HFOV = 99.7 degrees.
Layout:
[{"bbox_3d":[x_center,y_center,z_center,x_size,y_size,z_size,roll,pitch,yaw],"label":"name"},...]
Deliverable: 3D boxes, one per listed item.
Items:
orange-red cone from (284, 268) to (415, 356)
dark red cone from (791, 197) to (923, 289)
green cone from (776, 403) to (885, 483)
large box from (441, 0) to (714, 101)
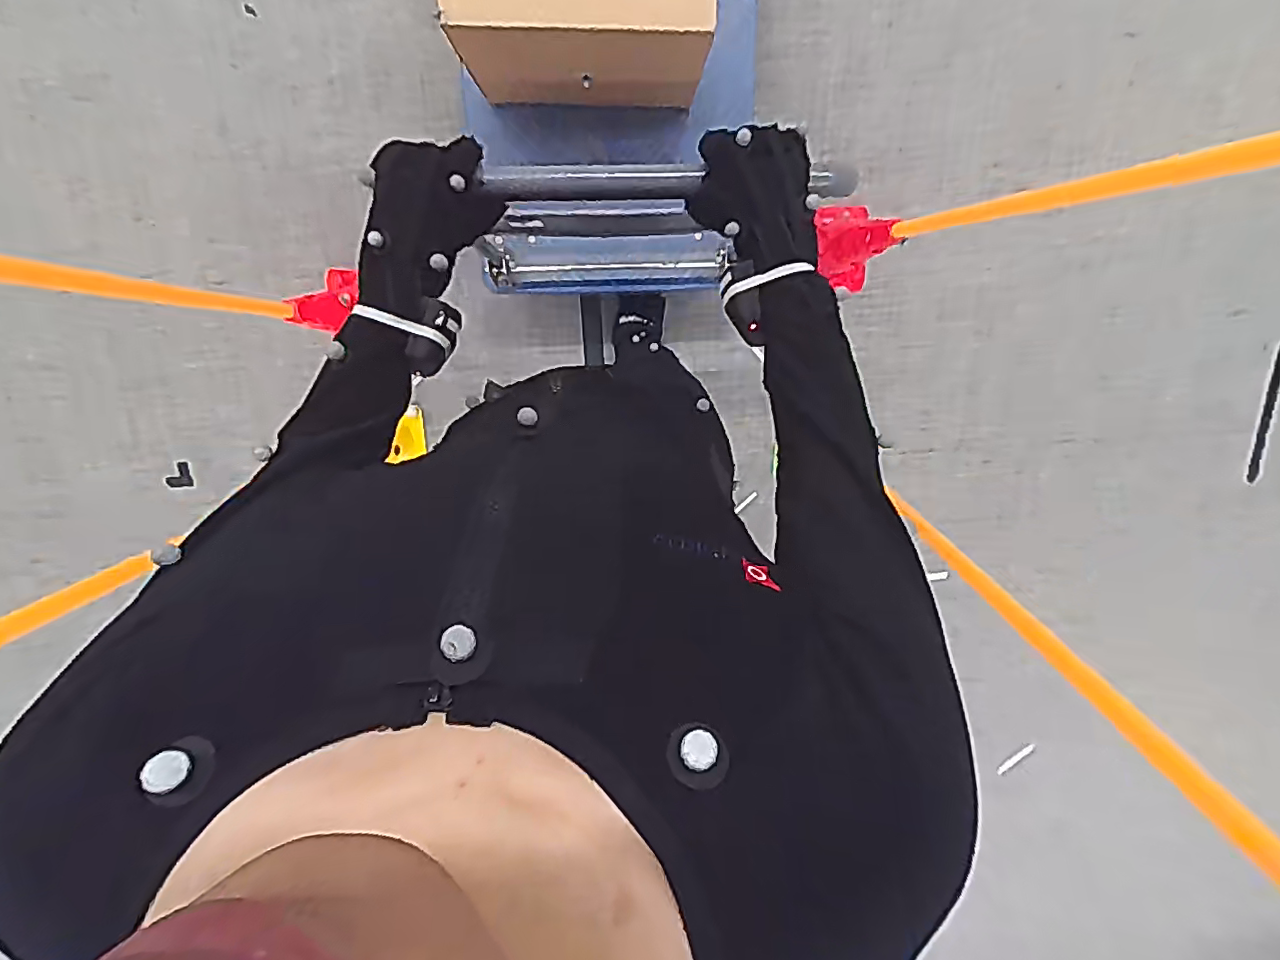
[{"bbox_3d":[-0.653,-0.370,1.175,0.198,0.360,0.199,3,105,-4],"label":"orange-red cone"},{"bbox_3d":[0.471,-0.519,1.142,0.201,0.394,0.202,-4,107,-2],"label":"dark red cone"},{"bbox_3d":[0.478,-0.059,1.296,0.202,0.368,0.200,0,106,-3],"label":"green cone"},{"bbox_3d":[-0.093,-0.856,0.894,0.408,0.320,0.320,0,107,-1],"label":"large box"}]
